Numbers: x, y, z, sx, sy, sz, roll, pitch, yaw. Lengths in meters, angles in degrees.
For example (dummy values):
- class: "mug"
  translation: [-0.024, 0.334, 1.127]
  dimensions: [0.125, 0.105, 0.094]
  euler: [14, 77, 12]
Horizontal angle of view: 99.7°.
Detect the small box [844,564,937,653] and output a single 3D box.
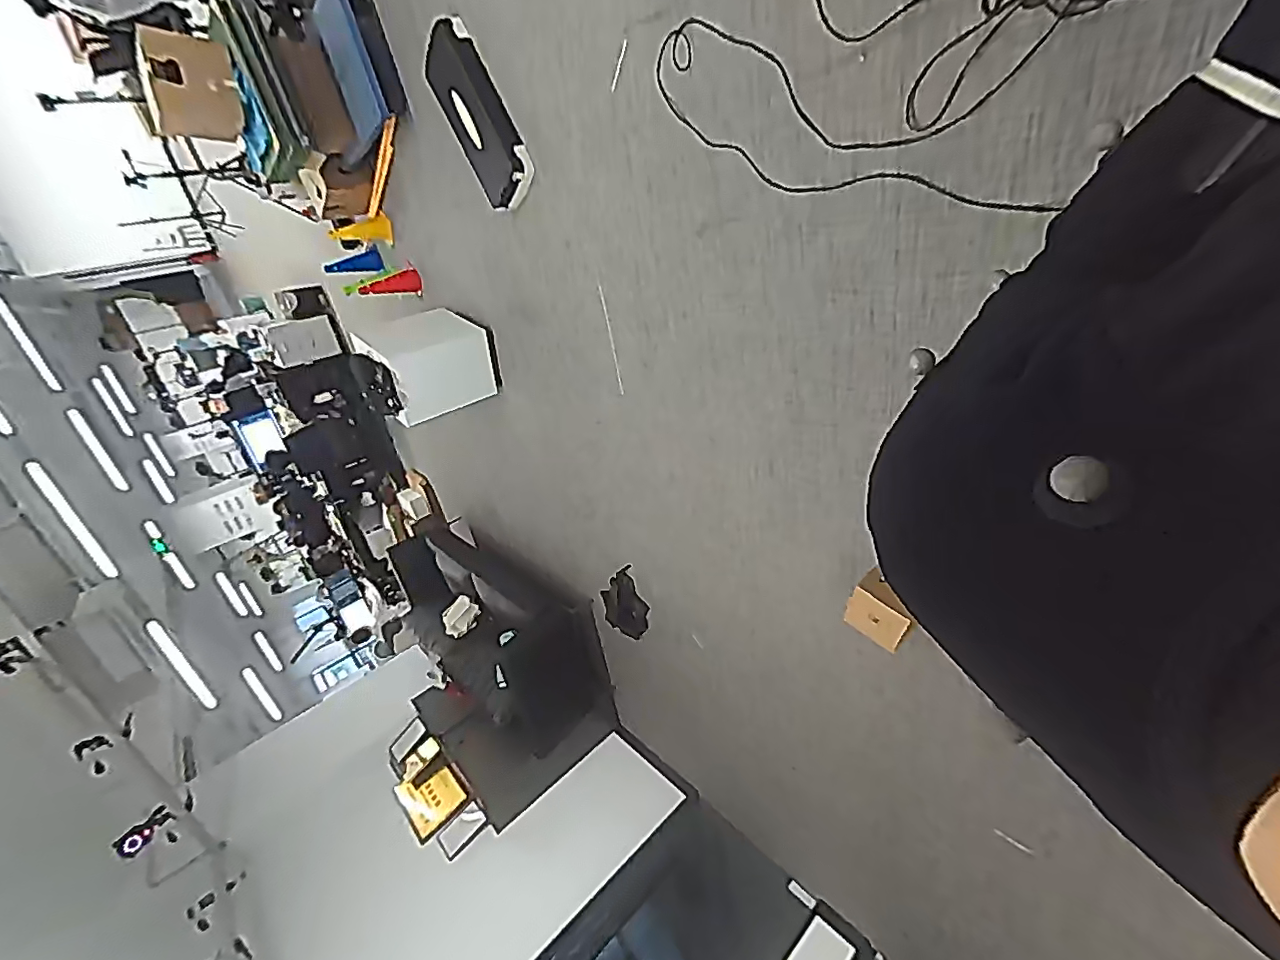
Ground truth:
- class: "small box"
  translation: [0.764, 0.383, 1.654]
  dimensions: [0.179, 0.176, 0.168]
  euler: [35, 140, 33]
